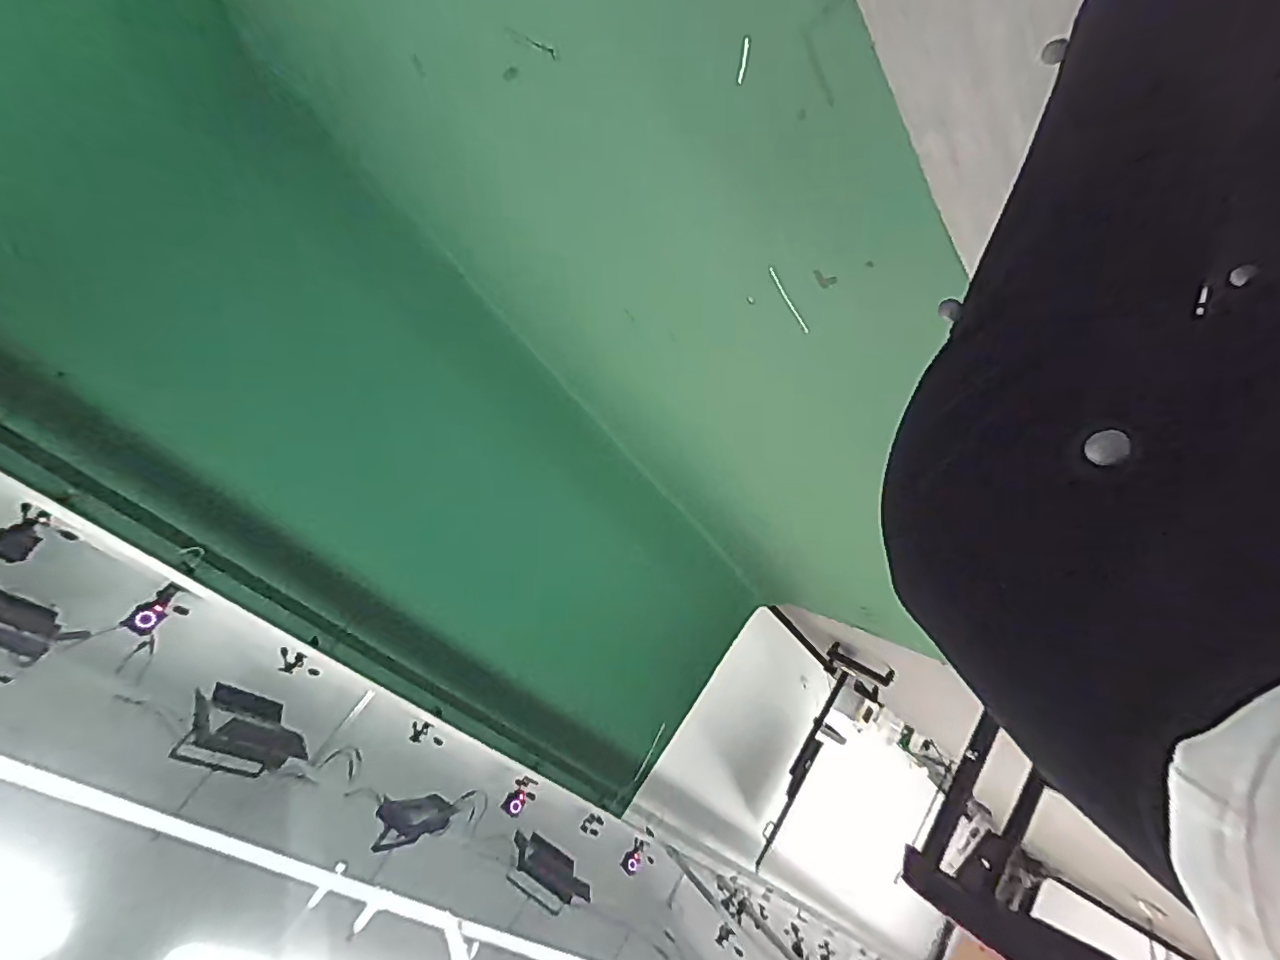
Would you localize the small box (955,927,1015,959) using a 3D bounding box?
[{"bbox_3d":[1.033,1.457,1.569,0.179,0.176,0.168,47,160,-30],"label":"small box"}]
